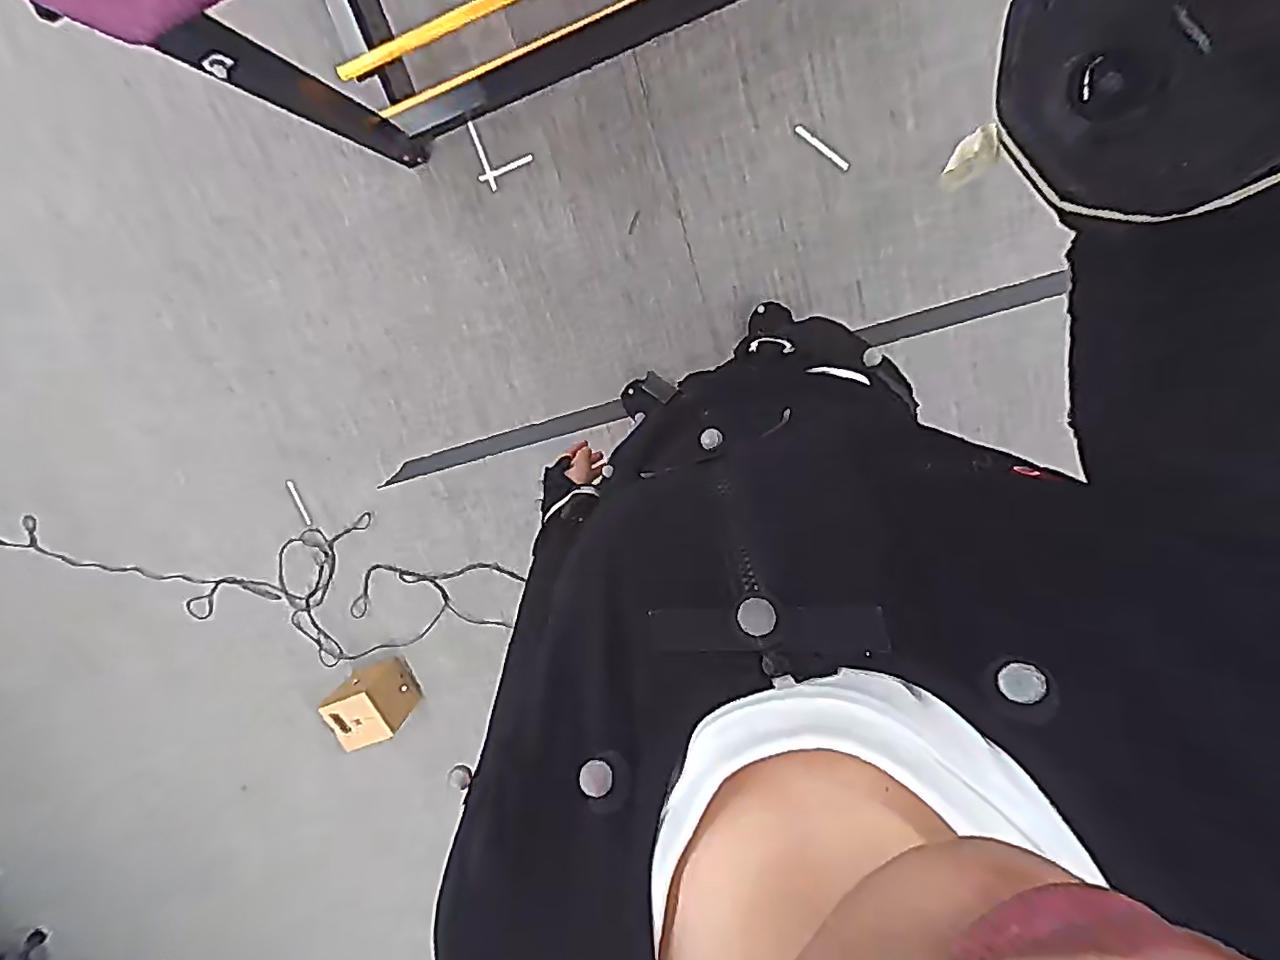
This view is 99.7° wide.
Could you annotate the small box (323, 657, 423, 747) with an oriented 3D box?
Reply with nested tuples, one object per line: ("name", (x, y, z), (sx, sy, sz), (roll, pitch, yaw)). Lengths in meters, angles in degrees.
("small box", (-0.808, 0.674, 1.653), (0.179, 0.176, 0.168), (-22, 104, 13))
